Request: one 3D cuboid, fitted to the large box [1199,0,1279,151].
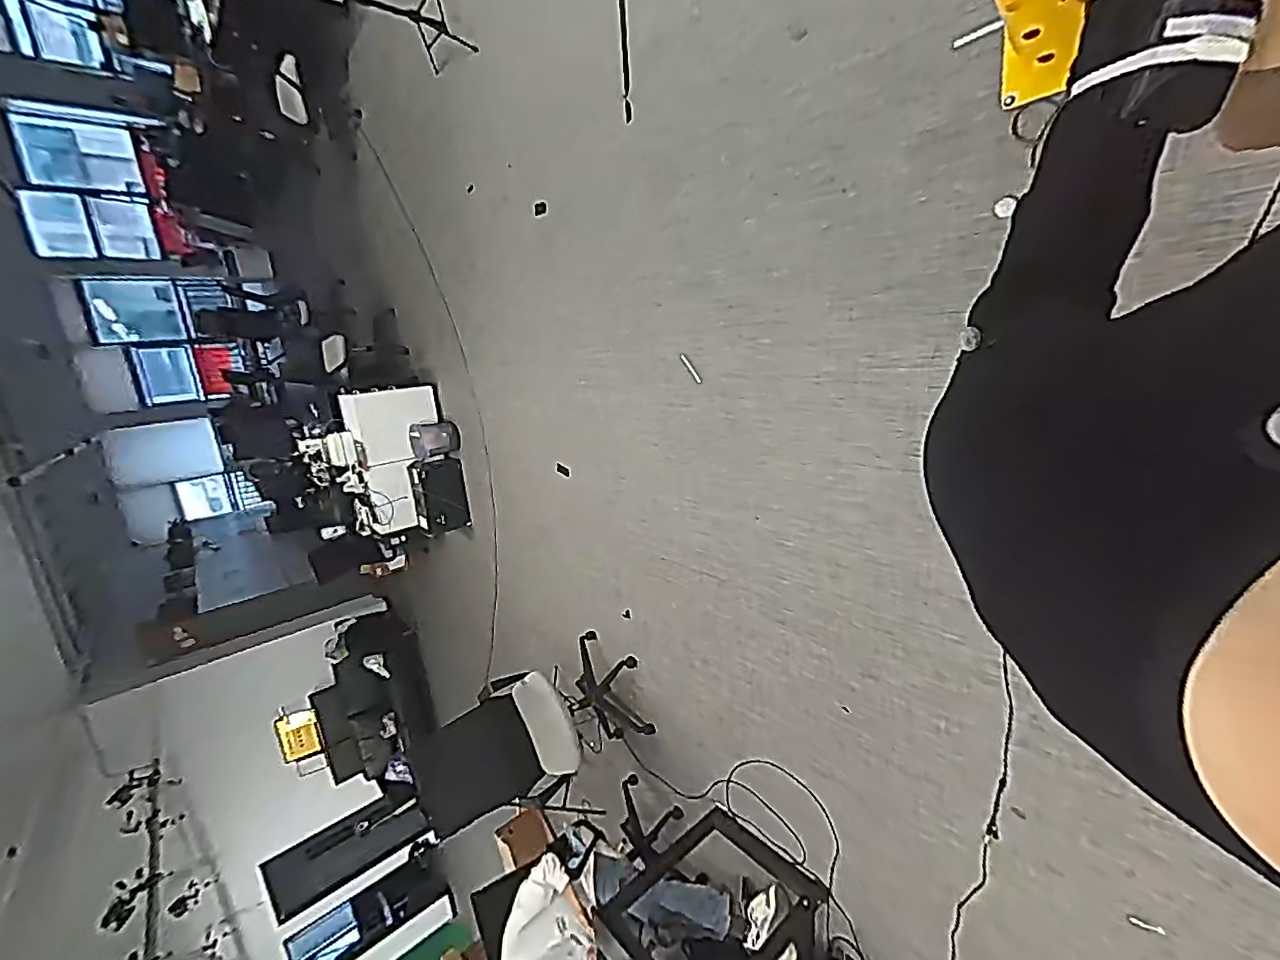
[{"bbox_3d":[0.601,-0.398,0.262,0.408,0.320,0.320,19,117,45],"label":"large box"}]
